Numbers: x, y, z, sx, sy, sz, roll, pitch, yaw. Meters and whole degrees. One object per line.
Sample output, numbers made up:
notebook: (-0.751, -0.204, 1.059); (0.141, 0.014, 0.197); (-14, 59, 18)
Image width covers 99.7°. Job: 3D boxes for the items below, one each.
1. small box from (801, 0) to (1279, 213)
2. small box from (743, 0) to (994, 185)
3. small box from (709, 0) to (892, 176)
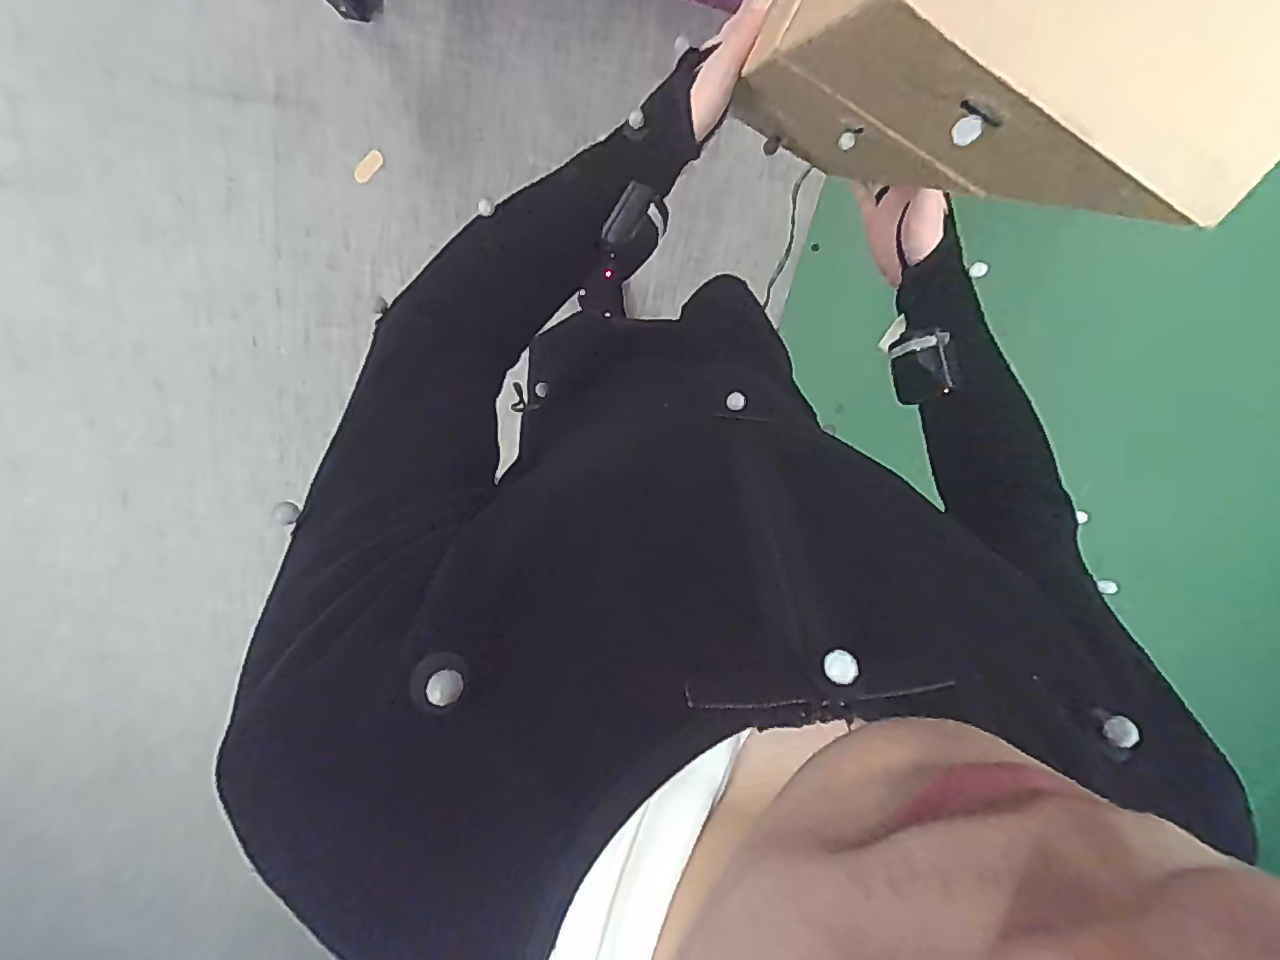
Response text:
small box: (0.199, -0.246, 0.237); (0.179, 0.176, 0.168); (22, 121, -14)
small box: (0.192, -0.333, 0.375); (0.179, 0.176, 0.168); (23, 120, -15)
small box: (0.187, -0.420, 0.514); (0.179, 0.176, 0.168); (21, 119, -15)
